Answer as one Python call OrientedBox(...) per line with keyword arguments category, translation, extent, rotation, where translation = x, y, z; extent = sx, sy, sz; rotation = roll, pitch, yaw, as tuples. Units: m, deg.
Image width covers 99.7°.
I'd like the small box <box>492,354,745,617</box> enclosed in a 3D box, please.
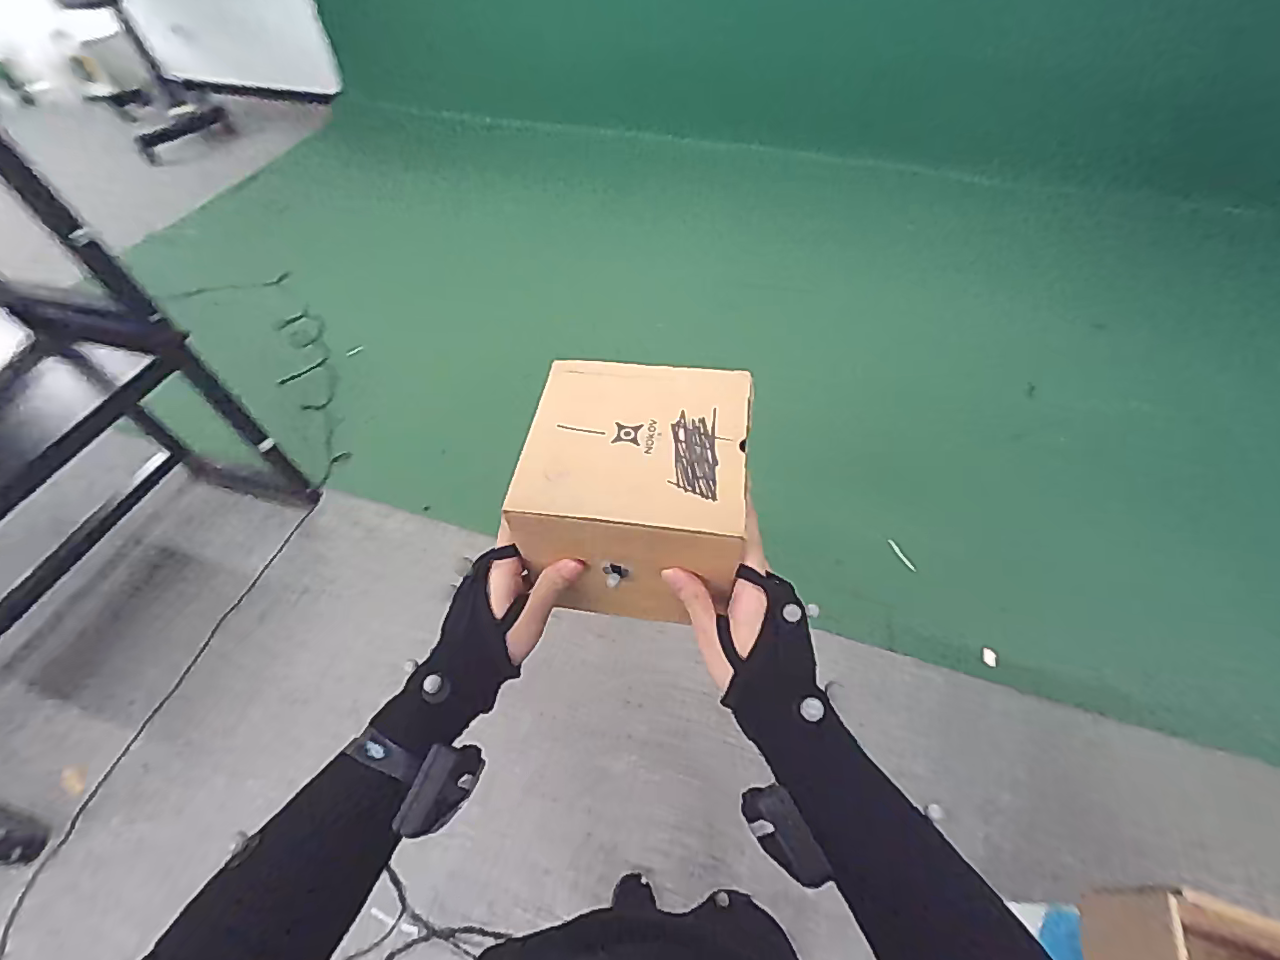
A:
OrientedBox(category="small box", translation=(-0.006, 0.010, 0.483), extent=(0.179, 0.176, 0.168), rotation=(5, 53, 7))
